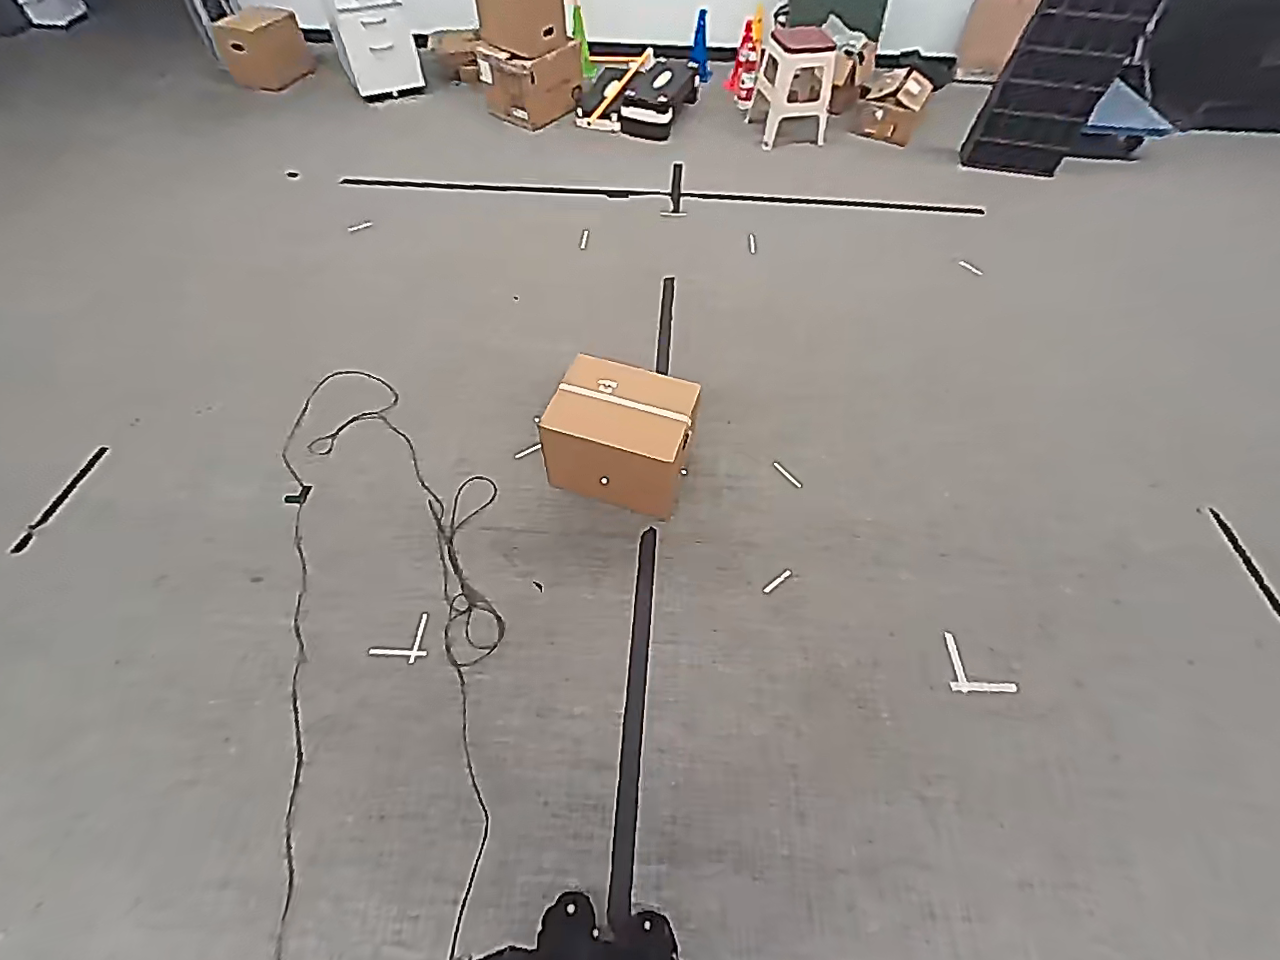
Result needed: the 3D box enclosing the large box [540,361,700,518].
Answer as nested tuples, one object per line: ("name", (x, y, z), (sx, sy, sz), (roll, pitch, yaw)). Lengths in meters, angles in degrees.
("large box", (-0.050, -0.123, 1.706), (0.408, 0.320, 0.320), (16, 56, 10))
